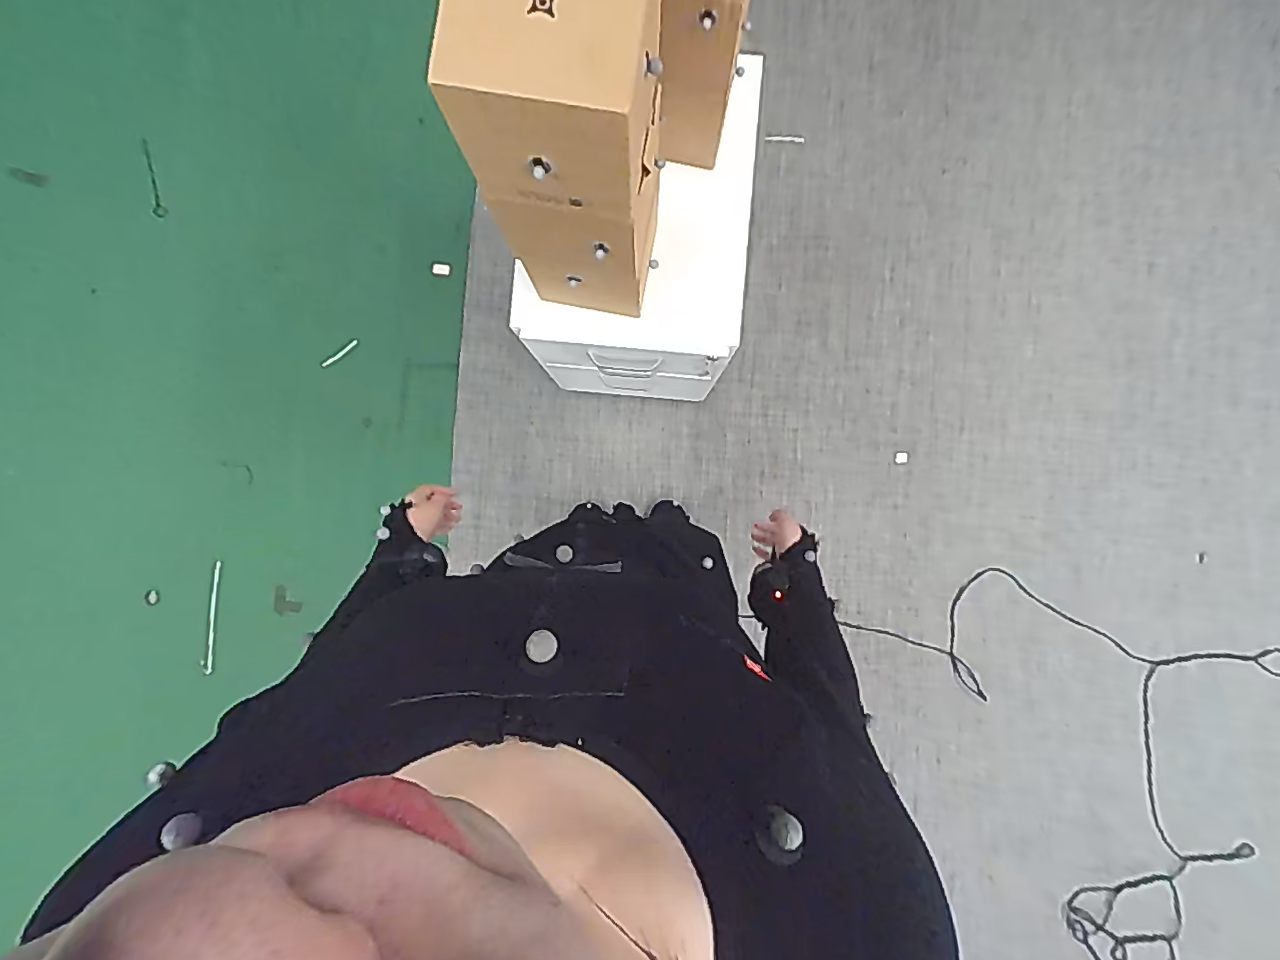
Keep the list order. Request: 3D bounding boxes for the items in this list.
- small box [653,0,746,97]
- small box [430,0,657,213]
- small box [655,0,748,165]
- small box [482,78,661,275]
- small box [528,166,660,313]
[{"bbox_3d":[0.048,-0.630,0.684,0.179,0.176,0.168,12,89,0],"label":"small box"},{"bbox_3d":[-0.076,-0.387,0.515,0.168,0.176,0.179,10,87,-1],"label":"small box"},{"bbox_3d":[0.055,-0.630,0.846,0.179,0.176,0.168,12,90,1],"label":"small box"},{"bbox_3d":[-0.076,-0.378,0.679,0.179,0.176,0.168,10,87,1],"label":"small box"},{"bbox_3d":[-0.072,-0.377,0.841,0.179,0.176,0.168,11,88,-1],"label":"small box"}]
